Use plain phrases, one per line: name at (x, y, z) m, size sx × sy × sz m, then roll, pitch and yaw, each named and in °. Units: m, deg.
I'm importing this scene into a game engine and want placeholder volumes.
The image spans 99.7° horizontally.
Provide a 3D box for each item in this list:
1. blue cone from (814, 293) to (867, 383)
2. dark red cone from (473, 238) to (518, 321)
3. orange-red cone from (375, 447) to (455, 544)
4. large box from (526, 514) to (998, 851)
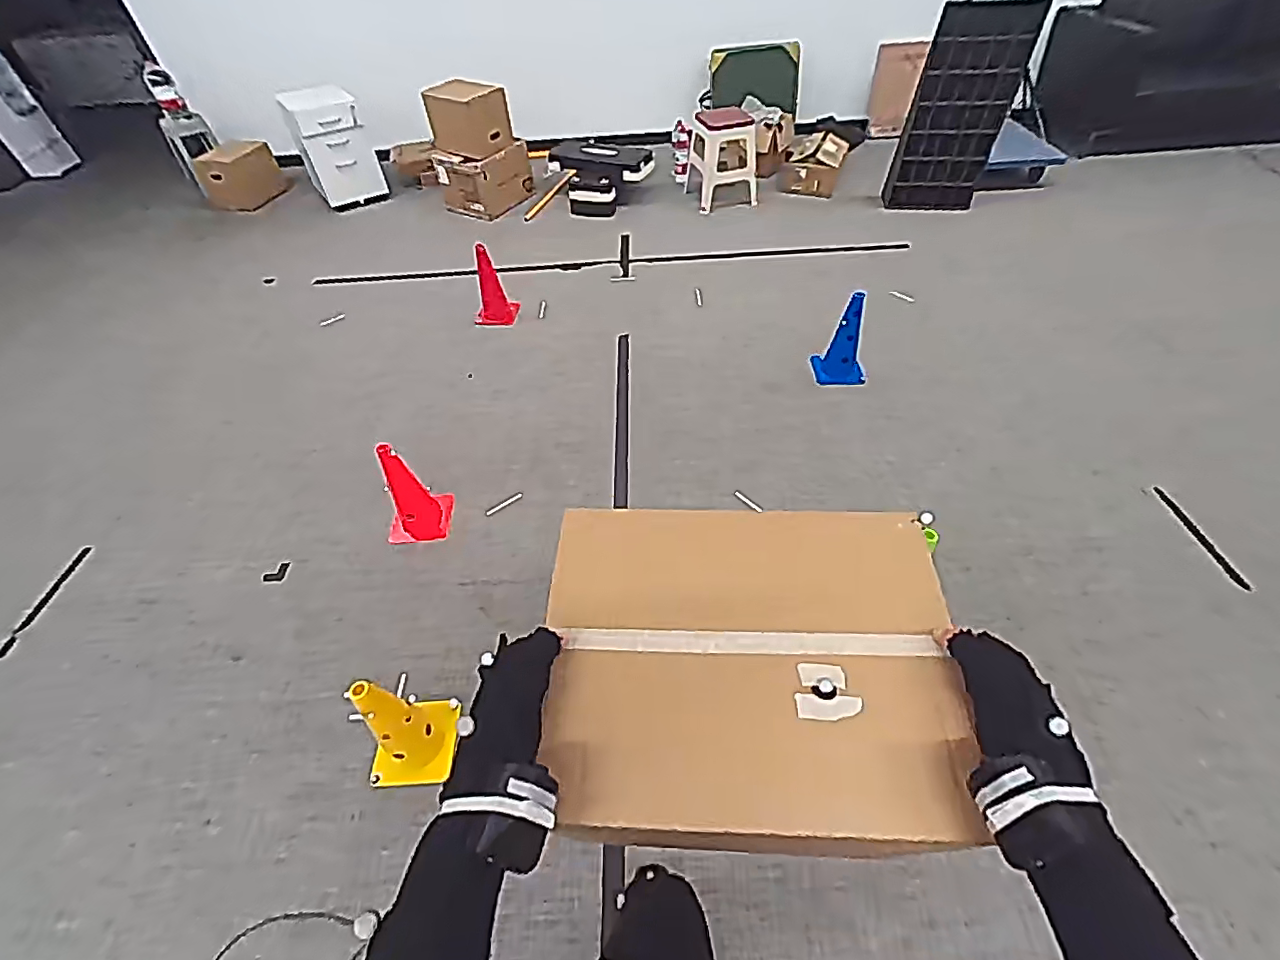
blue cone at (0.851, -0.586, 2.214) m, size 0.192 × 0.380 × 0.193 m, roll 0°, pitch 49°, yaw 3°
dark red cone at (-0.729, -0.963, 2.602) m, size 0.201 × 0.394 × 0.202 m, roll 2°, pitch 49°, yaw 4°
orange-red cone at (-0.767, 0.028, 1.761) m, size 0.198 × 0.360 × 0.199 m, roll -5°, pitch 50°, yaw 0°
large box at (0.106, 0.253, 0.658) m, size 0.408 × 0.320 × 0.320 m, roll 1°, pitch 54°, yaw 3°
